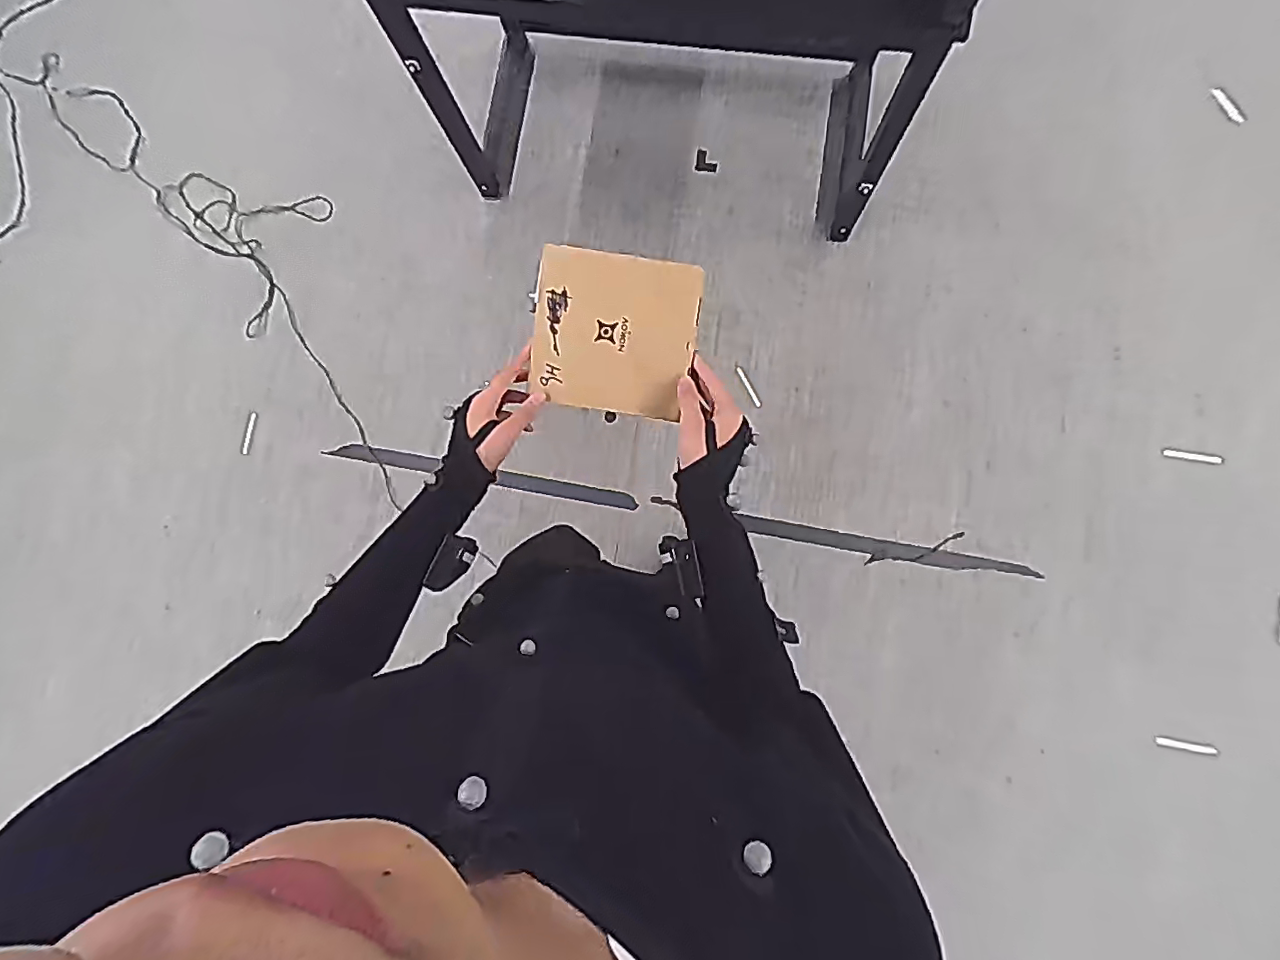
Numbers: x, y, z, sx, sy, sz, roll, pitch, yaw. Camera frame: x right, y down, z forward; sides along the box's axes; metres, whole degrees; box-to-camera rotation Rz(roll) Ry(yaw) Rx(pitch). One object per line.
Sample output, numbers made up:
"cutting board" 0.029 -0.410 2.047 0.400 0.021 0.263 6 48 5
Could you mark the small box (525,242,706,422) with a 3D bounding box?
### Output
"small box" -0.027 -0.168 0.656 0.179 0.176 0.168 9 98 0
